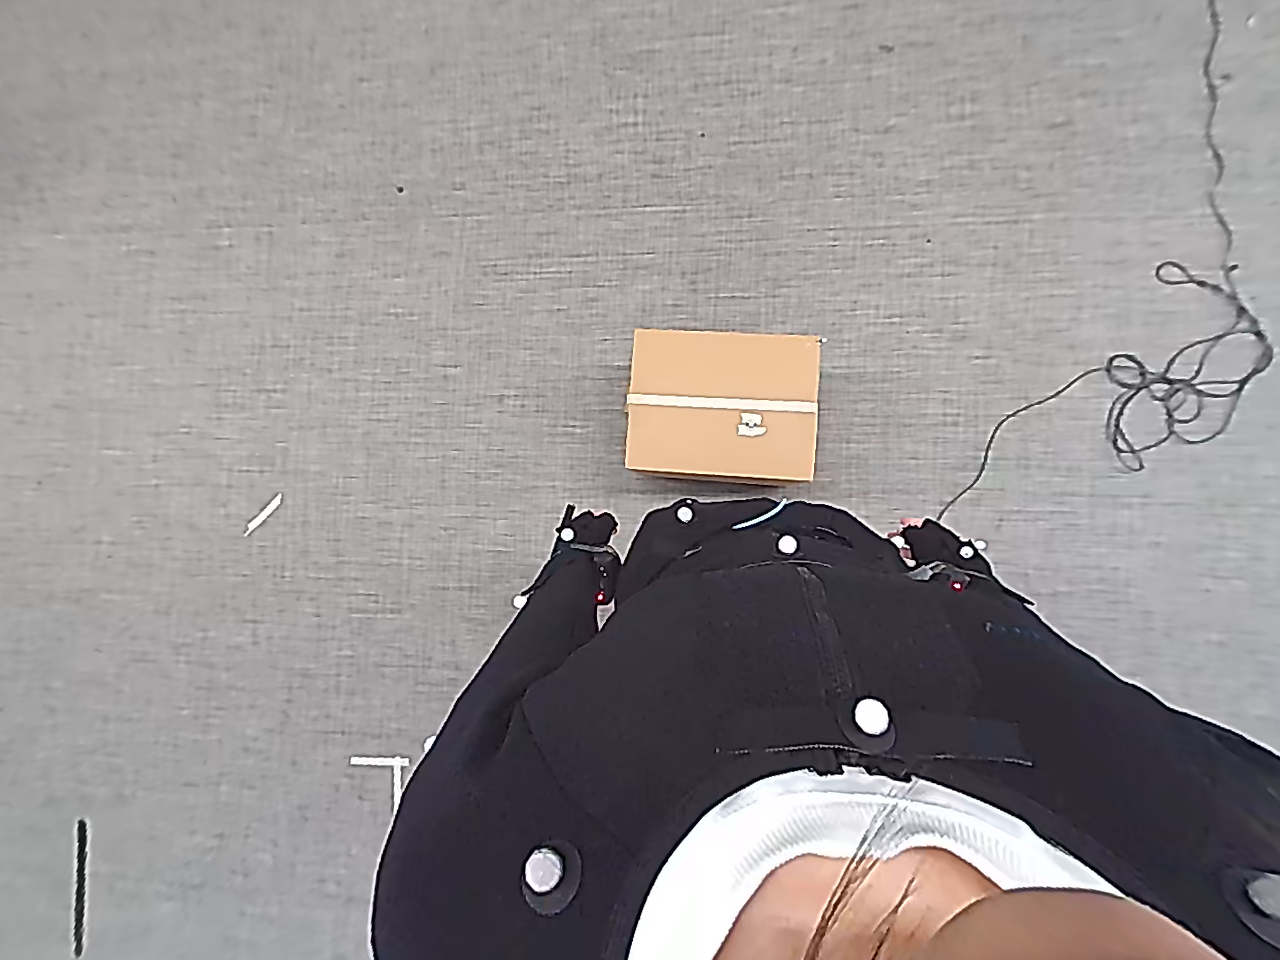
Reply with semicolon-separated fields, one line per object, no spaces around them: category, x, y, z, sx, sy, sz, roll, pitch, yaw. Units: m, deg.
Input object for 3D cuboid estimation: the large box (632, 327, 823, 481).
large box;0.199;-0.167;1.319;0.408;0.320;0.320;4;89;6
